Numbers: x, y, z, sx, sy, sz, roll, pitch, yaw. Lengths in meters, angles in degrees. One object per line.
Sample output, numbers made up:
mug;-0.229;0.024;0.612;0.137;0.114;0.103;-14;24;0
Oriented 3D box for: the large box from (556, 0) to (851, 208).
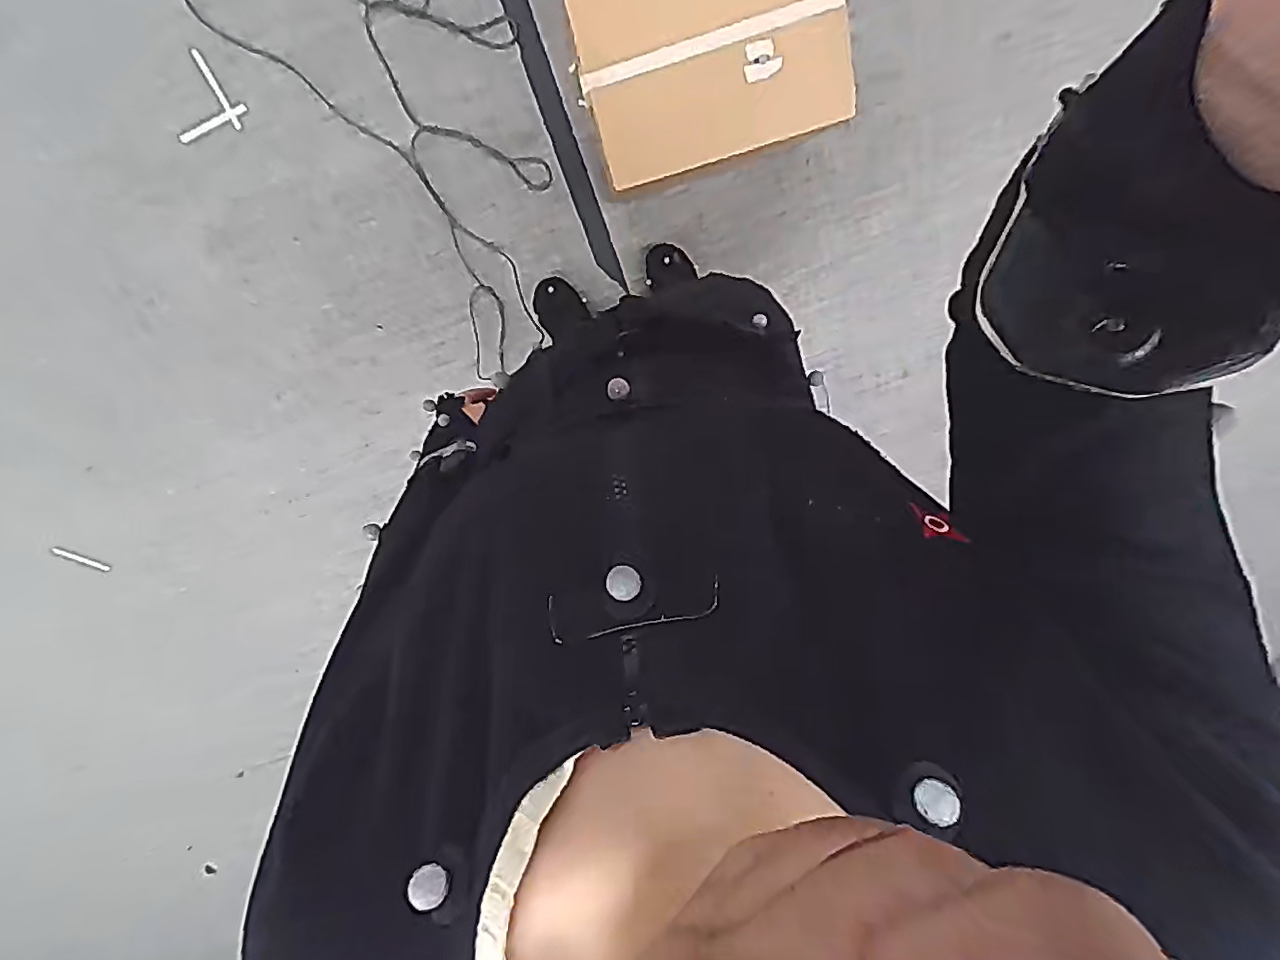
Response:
large box;0.097;-0.715;0.956;0.408;0.320;0.320;-16;114;3
